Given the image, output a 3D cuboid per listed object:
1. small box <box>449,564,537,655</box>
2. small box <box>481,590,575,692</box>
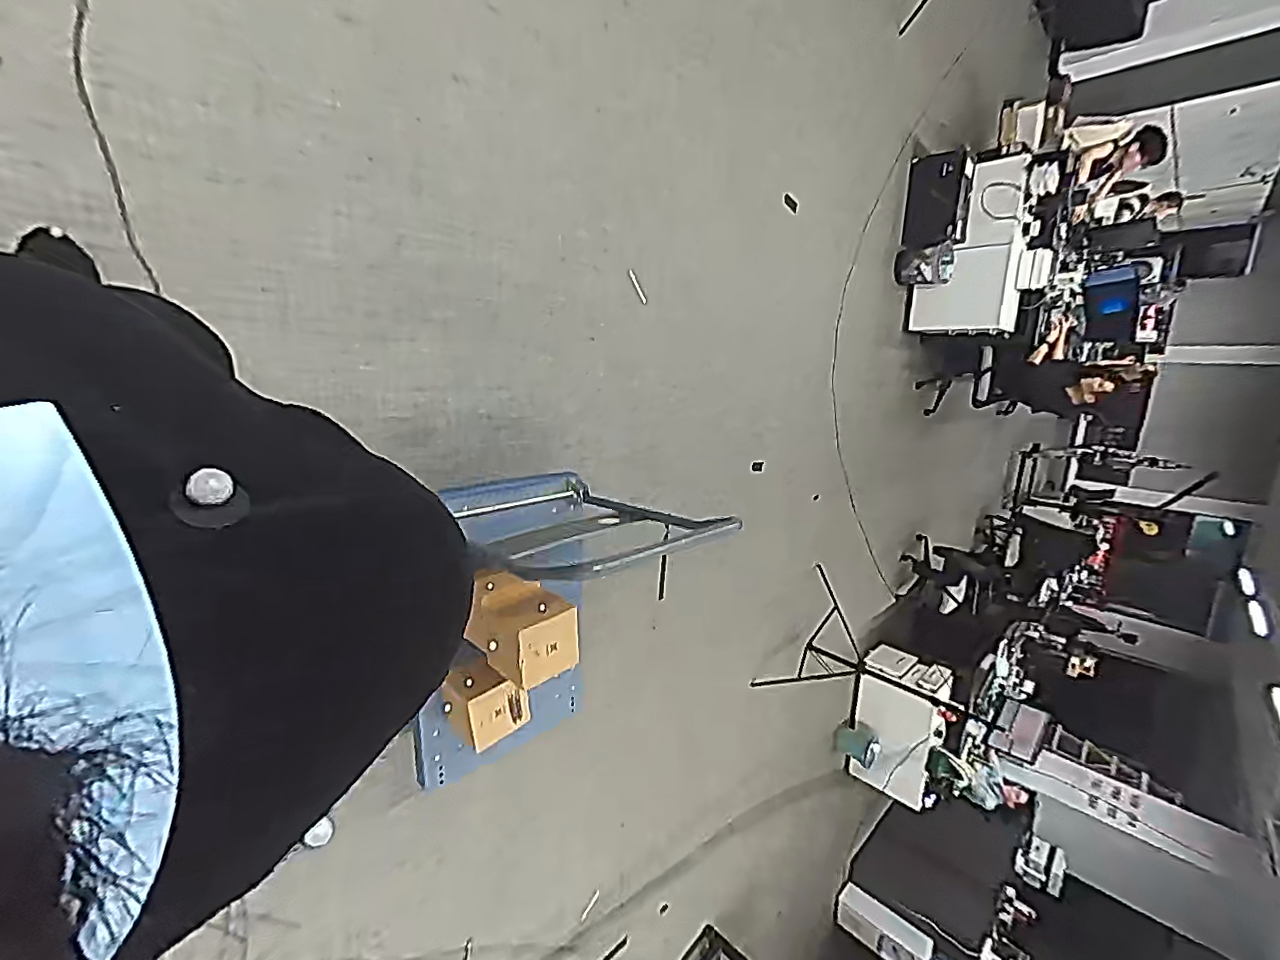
[{"bbox_3d":[-0.402,0.349,1.495,0.179,0.176,0.168,-15,111,-43],"label":"small box"},{"bbox_3d":[-0.287,0.403,1.388,0.179,0.176,0.168,-14,110,-43],"label":"small box"}]
